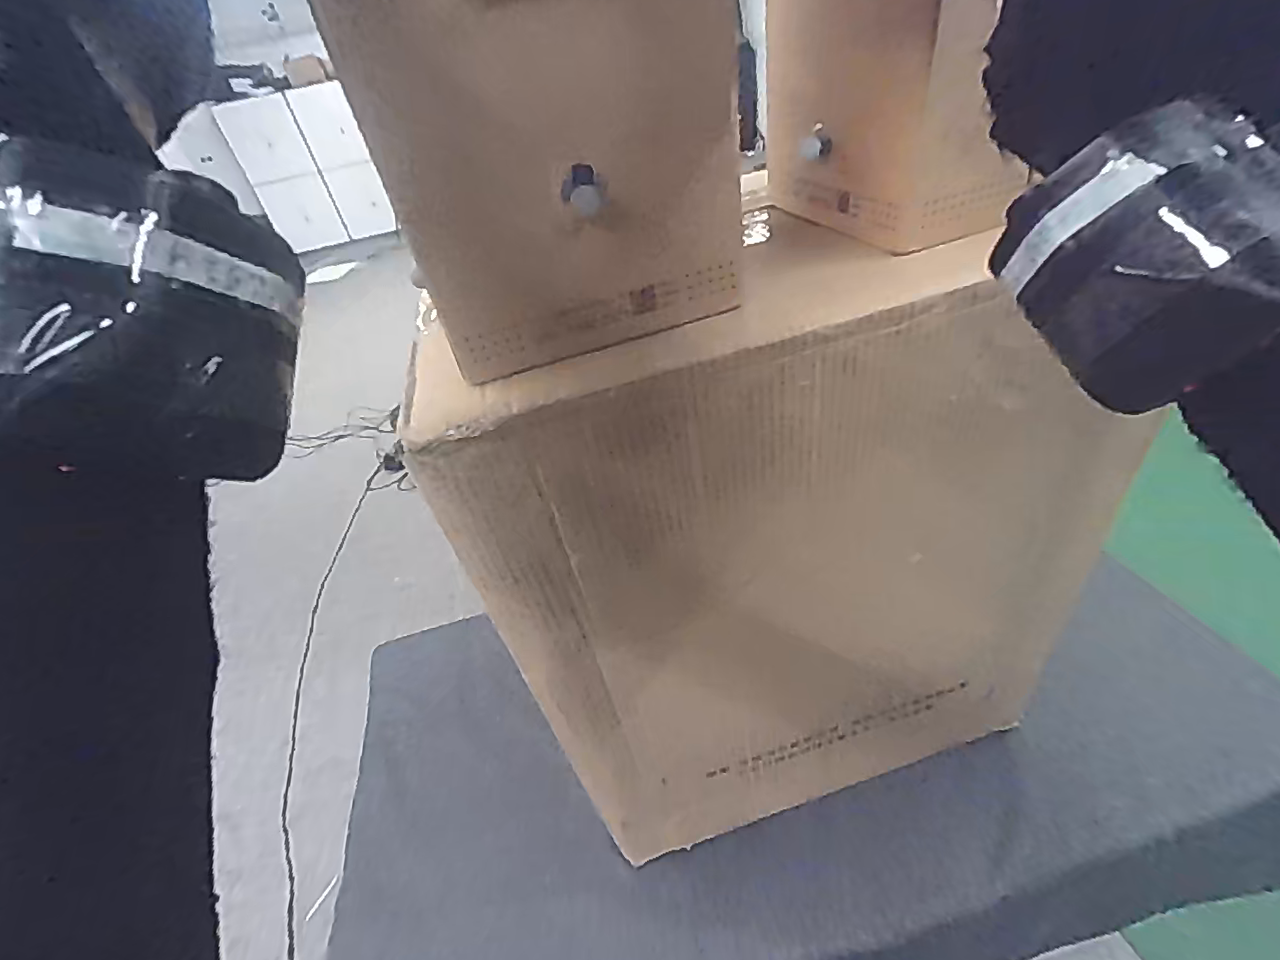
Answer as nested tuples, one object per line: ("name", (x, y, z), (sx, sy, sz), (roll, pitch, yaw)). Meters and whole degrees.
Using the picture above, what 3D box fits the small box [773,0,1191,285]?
("small box", (0.201, -0.253, 0.361), (0.179, 0.176, 0.168), (-19, 40, -9))

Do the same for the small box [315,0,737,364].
("small box", (-0.051, -0.184, 0.316), (0.168, 0.176, 0.179), (-18, 41, -7))
